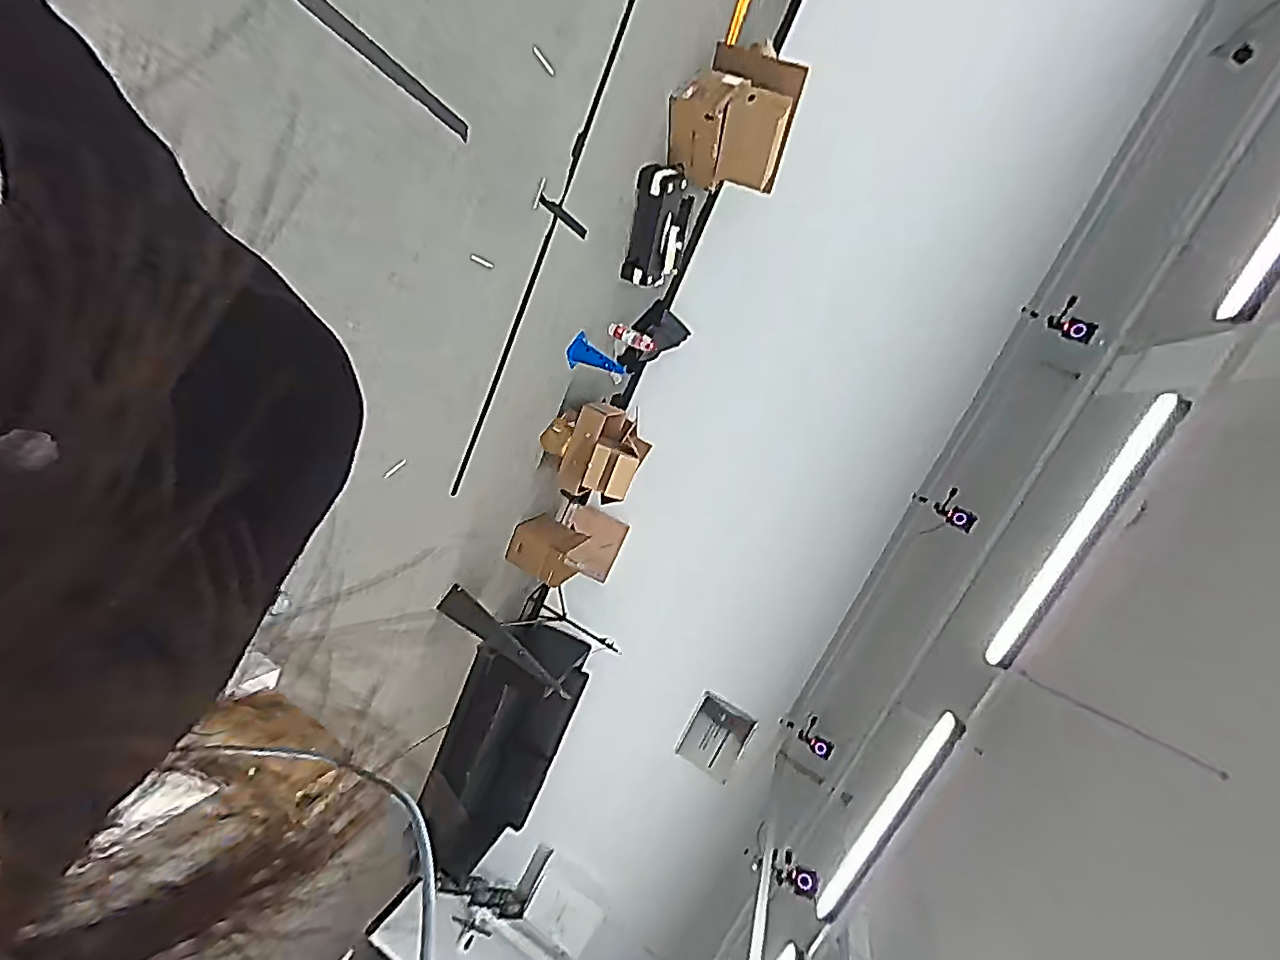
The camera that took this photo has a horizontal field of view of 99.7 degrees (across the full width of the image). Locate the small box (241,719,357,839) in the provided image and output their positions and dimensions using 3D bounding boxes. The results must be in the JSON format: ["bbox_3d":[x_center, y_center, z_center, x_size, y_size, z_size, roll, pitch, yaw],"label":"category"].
[{"bbox_3d":[-0.893,0.773,1.417,0.168,0.176,0.179,-64,166,13],"label":"small box"}]

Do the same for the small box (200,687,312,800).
[{"bbox_3d":[-1.036,0.702,1.457,0.179,0.176,0.168,-65,165,13],"label":"small box"}]
